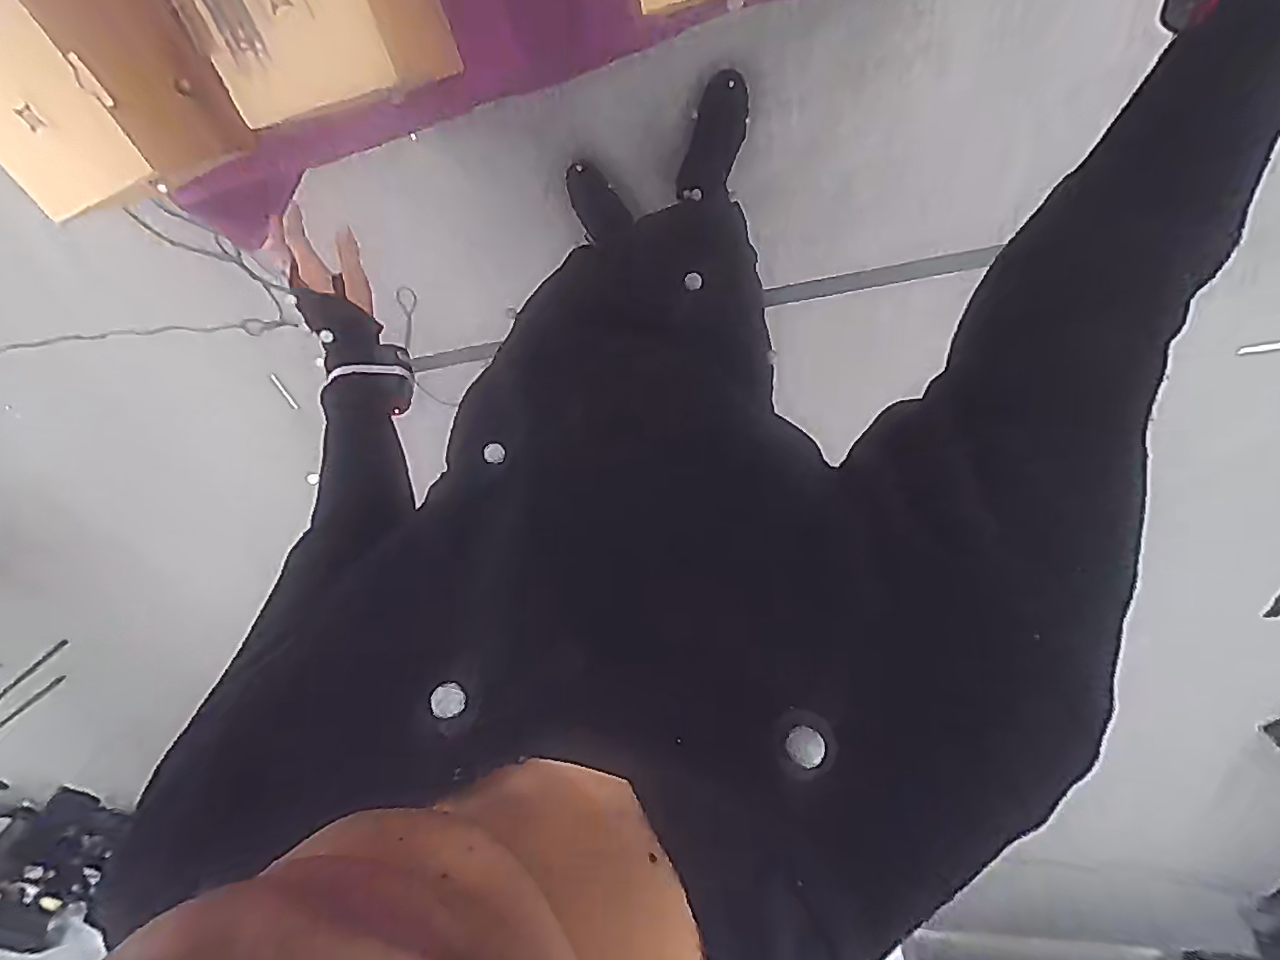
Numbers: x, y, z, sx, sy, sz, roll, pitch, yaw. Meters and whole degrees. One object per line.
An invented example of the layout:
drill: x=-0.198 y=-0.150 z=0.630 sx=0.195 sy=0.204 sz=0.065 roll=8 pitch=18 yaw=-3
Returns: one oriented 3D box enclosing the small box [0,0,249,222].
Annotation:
small box: x=-0.608 y=-0.423 z=0.615 sx=0.179 sy=0.176 sz=0.168 roll=-12 pitch=127 yaw=17
